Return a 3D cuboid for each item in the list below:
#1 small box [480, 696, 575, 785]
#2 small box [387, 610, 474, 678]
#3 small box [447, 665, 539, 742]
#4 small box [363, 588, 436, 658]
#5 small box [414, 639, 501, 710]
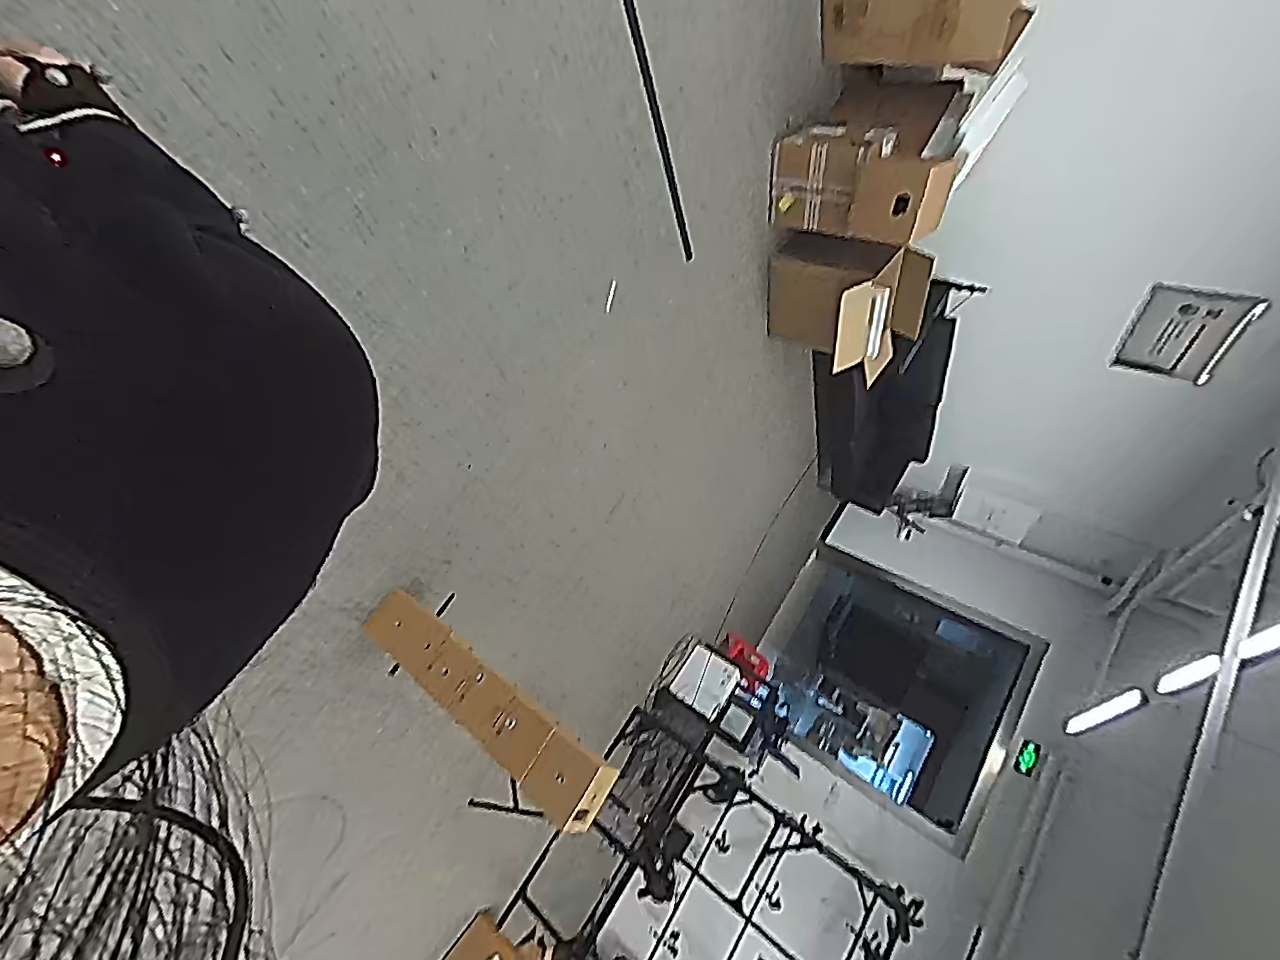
[{"bbox_3d":[-0.324,0.752,1.567,0.168,0.176,0.179,-56,147,-18],"label":"small box"},{"bbox_3d":[-0.704,0.566,1.813,0.179,0.176,0.168,-53,147,-20],"label":"small box"},{"bbox_3d":[-0.450,0.692,1.650,0.168,0.176,0.179,-54,148,-19],"label":"small box"},{"bbox_3d":[-0.836,0.514,1.897,0.179,0.176,0.168,-54,148,-18],"label":"small box"},{"bbox_3d":[-0.581,0.634,1.730,0.168,0.176,0.179,-53,147,-20],"label":"small box"}]
